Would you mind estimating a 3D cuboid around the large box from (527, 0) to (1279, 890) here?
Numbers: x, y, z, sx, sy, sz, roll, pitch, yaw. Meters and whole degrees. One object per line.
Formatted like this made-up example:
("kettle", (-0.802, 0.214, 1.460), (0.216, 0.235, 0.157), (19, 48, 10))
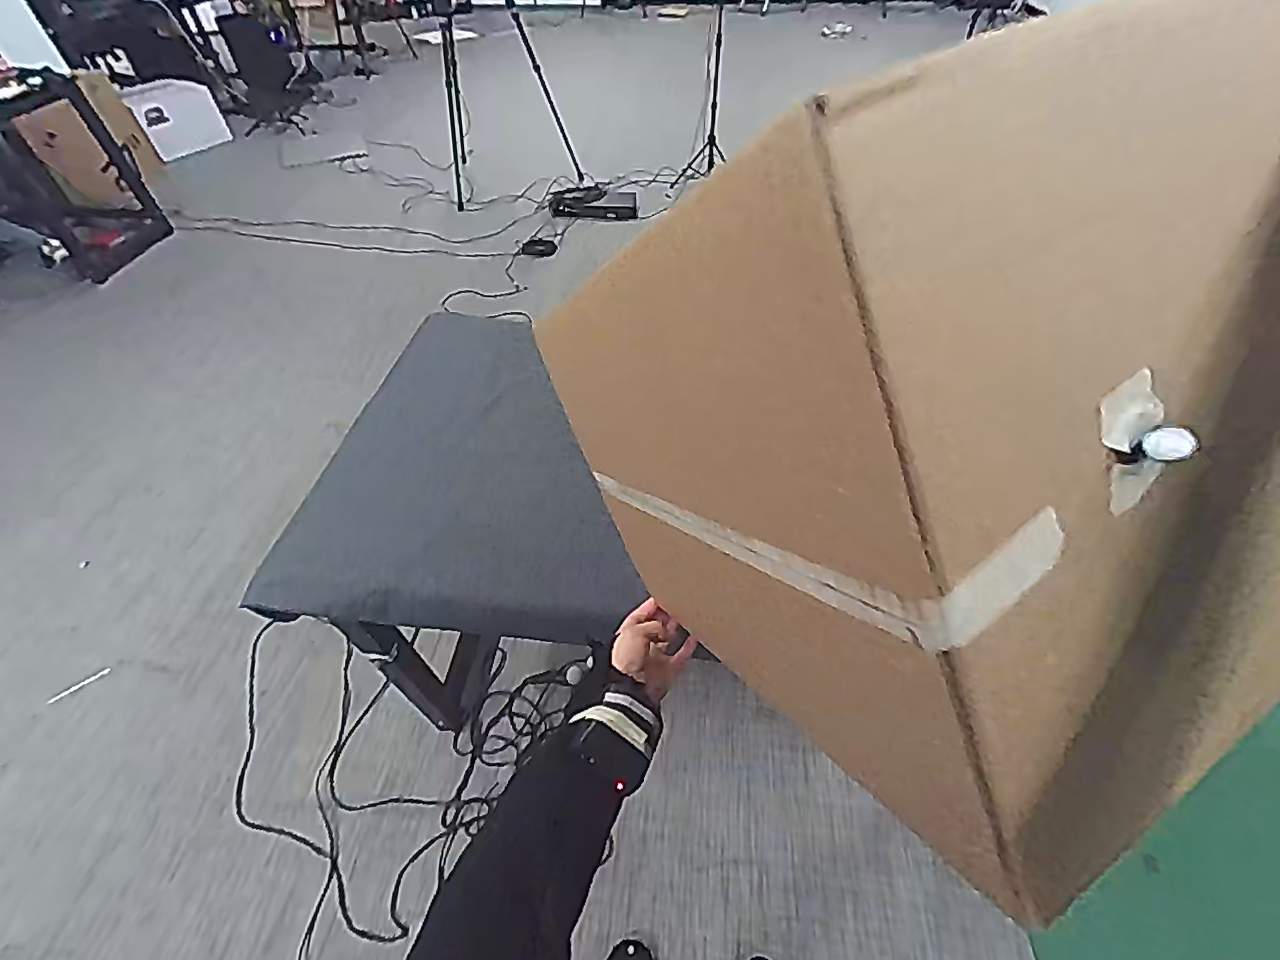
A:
("large box", (0.153, -0.047, 0.402), (0.320, 0.320, 0.408), (-28, 17, -17))
